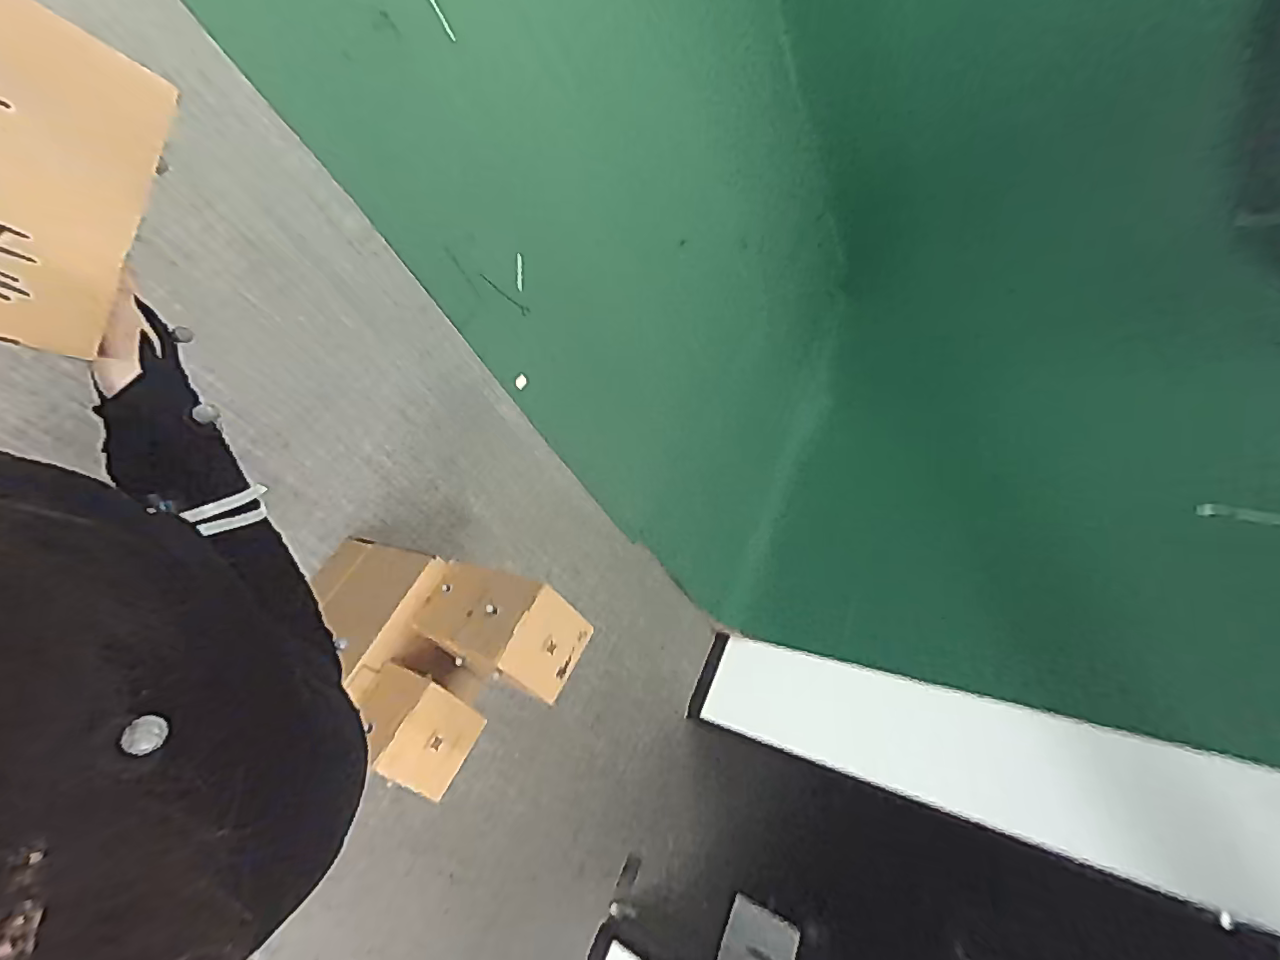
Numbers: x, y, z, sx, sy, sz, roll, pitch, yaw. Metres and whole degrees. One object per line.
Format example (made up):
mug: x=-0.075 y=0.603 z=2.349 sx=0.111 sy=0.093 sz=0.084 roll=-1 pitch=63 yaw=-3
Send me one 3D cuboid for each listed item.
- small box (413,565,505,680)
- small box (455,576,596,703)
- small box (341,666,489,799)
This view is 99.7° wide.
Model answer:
small box: x=-0.348 y=0.301 z=1.176 sx=0.179 sy=0.176 sz=0.168 roll=53 pitch=55 yaw=-36
small box: x=-0.227 y=0.305 z=1.065 sx=0.179 sy=0.176 sz=0.168 roll=54 pitch=55 yaw=-35
small box: x=-0.445 y=0.490 z=1.070 sx=0.168 sy=0.176 sz=0.179 roll=-58 pitch=133 yaw=-31
